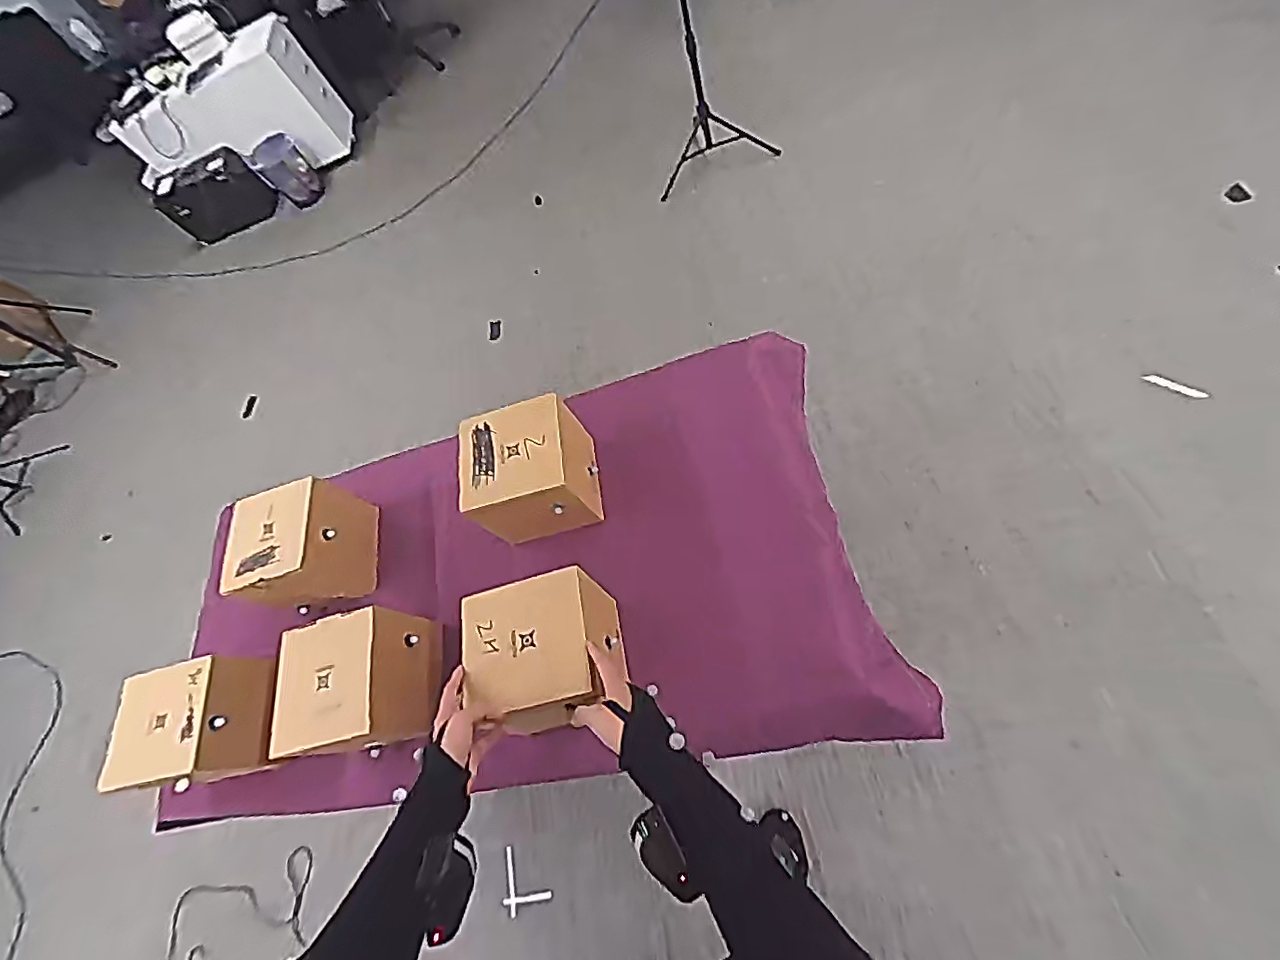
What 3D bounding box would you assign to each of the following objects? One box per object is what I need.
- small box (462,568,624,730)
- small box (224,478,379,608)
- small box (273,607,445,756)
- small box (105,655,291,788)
[{"bbox_3d":[-0.129,0.245,0.763,0.179,0.176,0.168,-17,58,9],"label":"small box"},{"bbox_3d":[-0.603,0.125,0.985,0.168,0.176,0.179,-17,62,10],"label":"small box"},{"bbox_3d":[-0.423,0.315,0.839,0.168,0.176,0.179,-18,64,11],"label":"small box"},{"bbox_3d":[-0.702,0.398,0.891,0.179,0.176,0.168,-16,63,11],"label":"small box"}]
